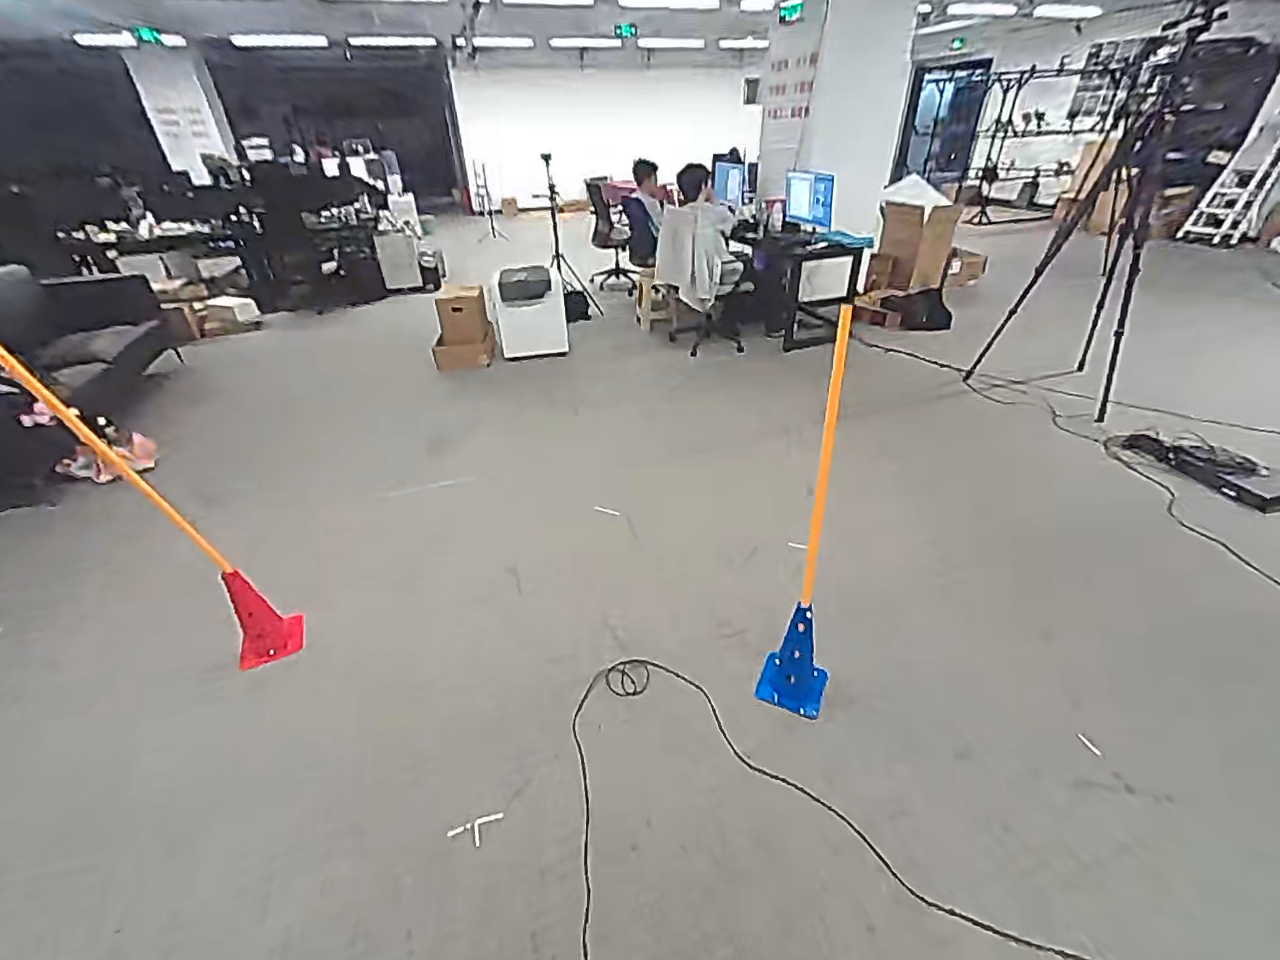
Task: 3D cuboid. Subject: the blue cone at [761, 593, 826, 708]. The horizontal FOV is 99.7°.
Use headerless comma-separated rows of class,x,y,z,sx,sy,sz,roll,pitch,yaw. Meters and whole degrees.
blue cone,0.493,0.498,1.665,0.192,0.380,0.193,13,34,22
